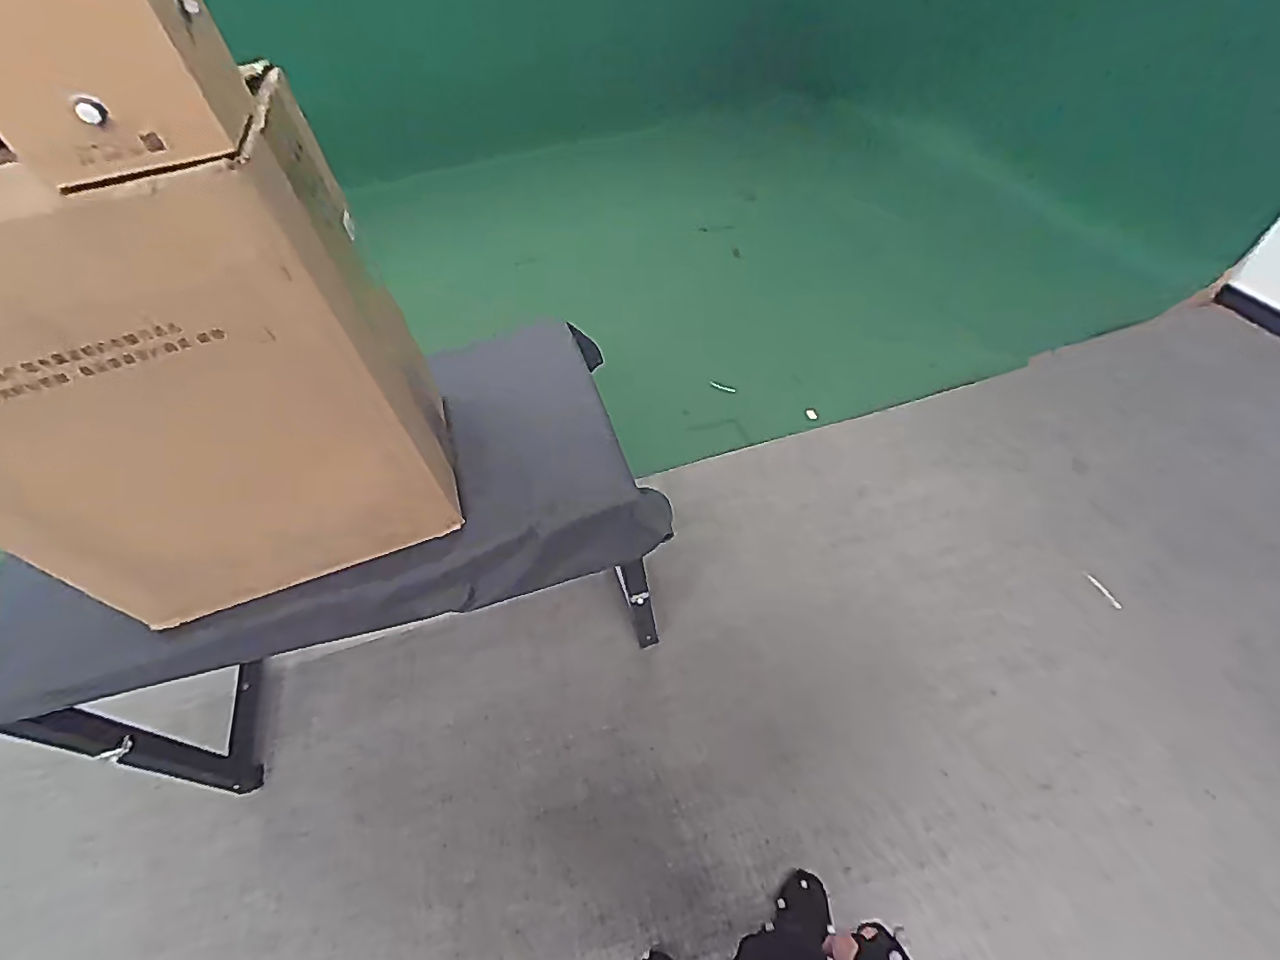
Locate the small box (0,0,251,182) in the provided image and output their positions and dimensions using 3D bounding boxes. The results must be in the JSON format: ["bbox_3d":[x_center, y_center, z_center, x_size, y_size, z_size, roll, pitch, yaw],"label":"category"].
[{"bbox_3d":[-0.491,-0.399,0.489,0.168,0.176,0.179,-18,53,-9],"label":"small box"}]
